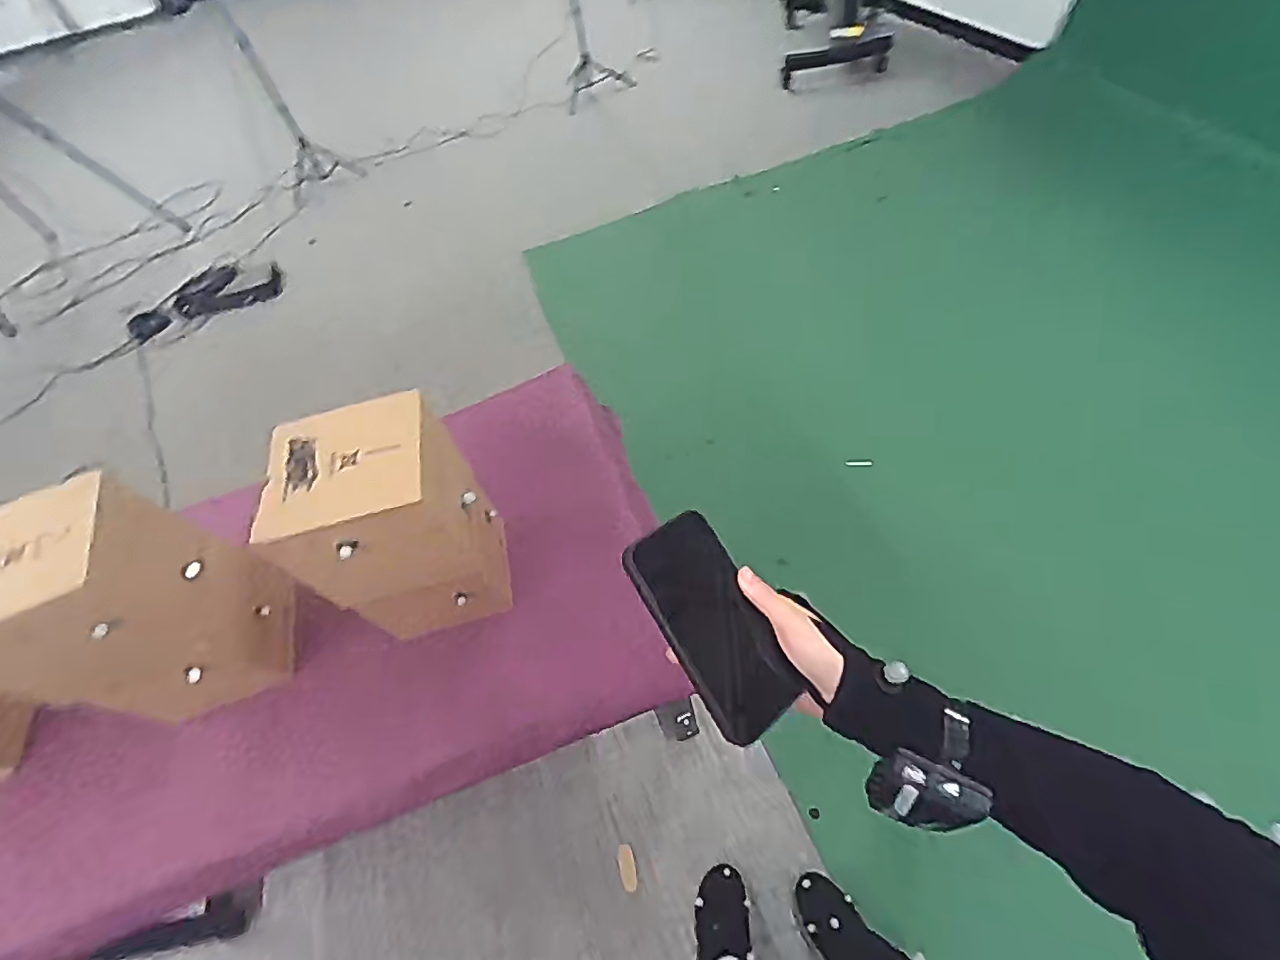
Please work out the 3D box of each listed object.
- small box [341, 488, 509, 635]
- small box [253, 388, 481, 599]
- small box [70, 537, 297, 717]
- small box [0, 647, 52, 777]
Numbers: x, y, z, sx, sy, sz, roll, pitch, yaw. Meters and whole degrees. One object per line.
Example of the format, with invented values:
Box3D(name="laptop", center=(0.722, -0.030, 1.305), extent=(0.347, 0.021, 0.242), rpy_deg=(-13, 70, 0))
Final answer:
Box3D(name="small box", center=(-0.299, 0.106, 0.790), extent=(0.179, 0.176, 0.168), rpy_deg=(-16, 54, -1))
Box3D(name="small box", center=(-0.309, 0.023, 0.649), extent=(0.179, 0.176, 0.168), rpy_deg=(-15, 54, -2))
Box3D(name="small box", center=(-0.622, 0.213, 0.768), extent=(0.179, 0.176, 0.168), rpy_deg=(-20, 55, -5))
Box3D(name="small box", center=(-0.994, 0.334, 0.749), extent=(0.168, 0.176, 0.179), rpy_deg=(-20, 55, -4))
